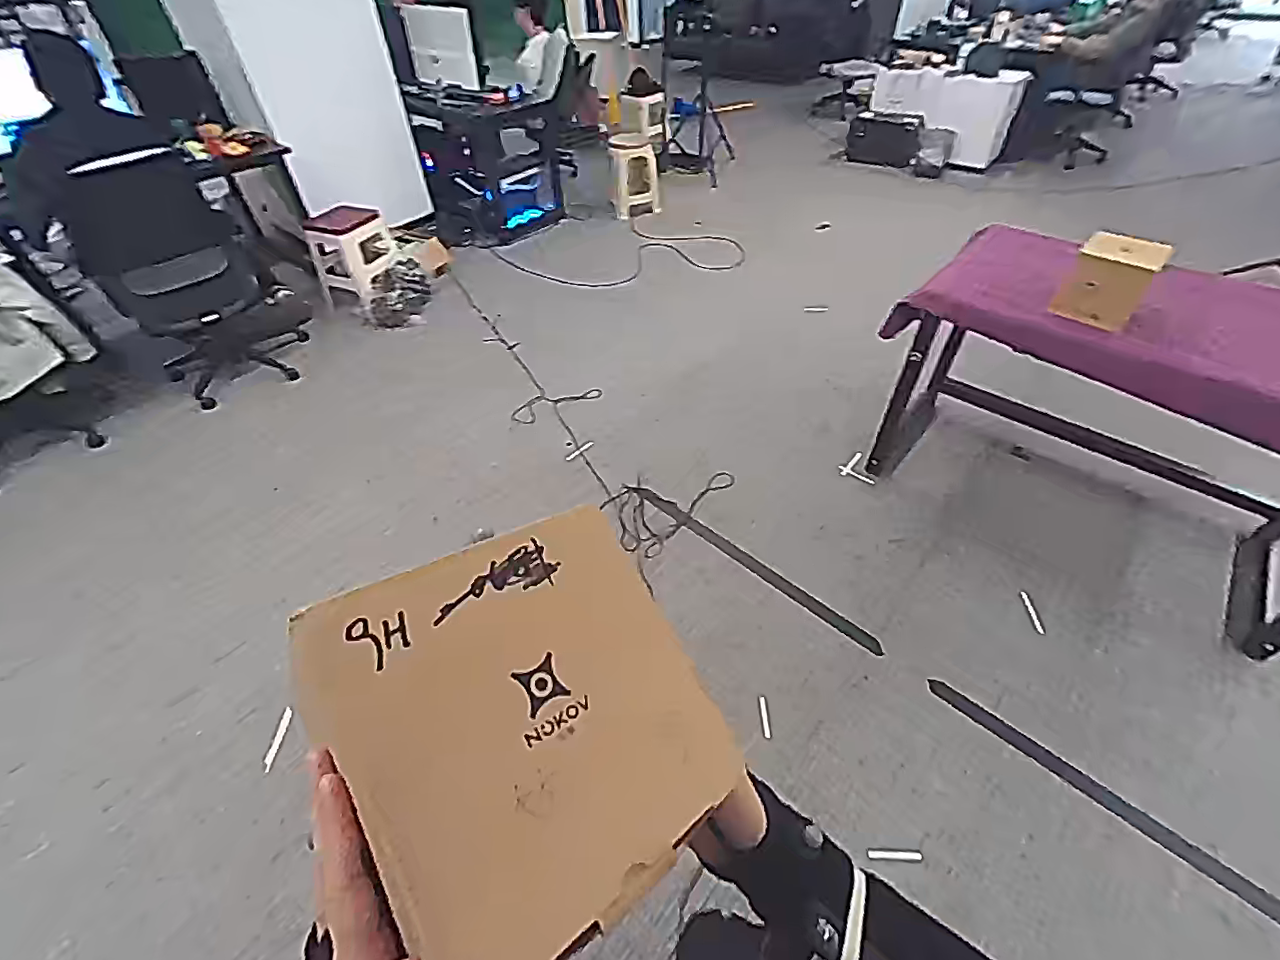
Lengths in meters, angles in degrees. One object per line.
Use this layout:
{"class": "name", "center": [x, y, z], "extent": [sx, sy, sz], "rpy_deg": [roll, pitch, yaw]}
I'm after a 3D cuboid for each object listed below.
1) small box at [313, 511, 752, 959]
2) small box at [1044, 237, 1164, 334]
{"class": "small box", "center": [-0.075, 0.149, 0.322], "extent": [0.168, 0.176, 0.179], "rpy_deg": [-19, 73, -39]}
{"class": "small box", "center": [1.194, -0.503, 1.404], "extent": [0.168, 0.176, 0.179], "rpy_deg": [33, 54, 29]}
